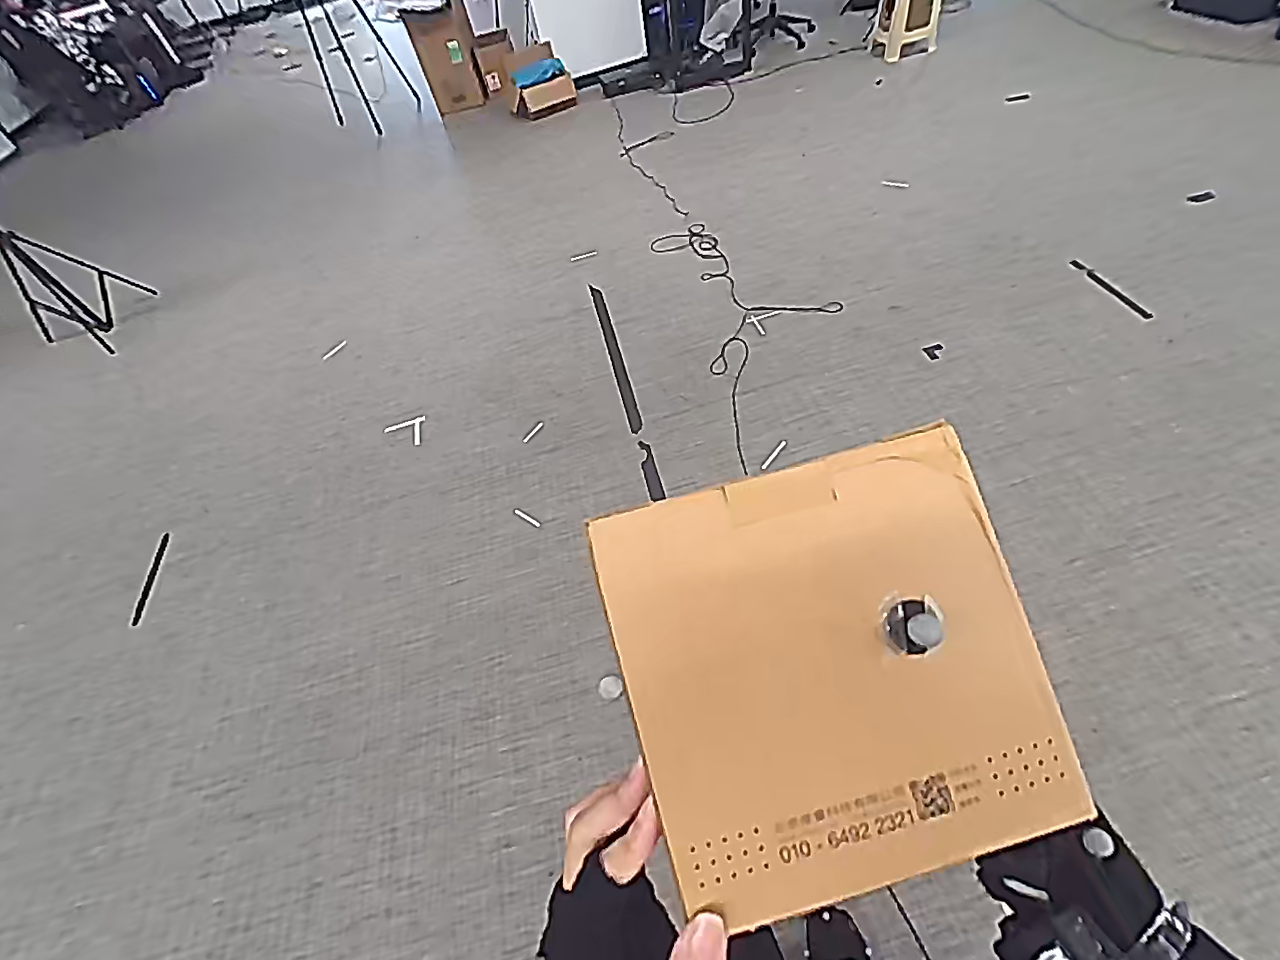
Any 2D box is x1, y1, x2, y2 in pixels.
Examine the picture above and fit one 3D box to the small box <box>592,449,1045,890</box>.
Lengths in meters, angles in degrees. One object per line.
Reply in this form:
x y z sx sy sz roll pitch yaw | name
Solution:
0.079 0.098 0.315 0.168 0.179 0.176 -15 82 -2 | small box
